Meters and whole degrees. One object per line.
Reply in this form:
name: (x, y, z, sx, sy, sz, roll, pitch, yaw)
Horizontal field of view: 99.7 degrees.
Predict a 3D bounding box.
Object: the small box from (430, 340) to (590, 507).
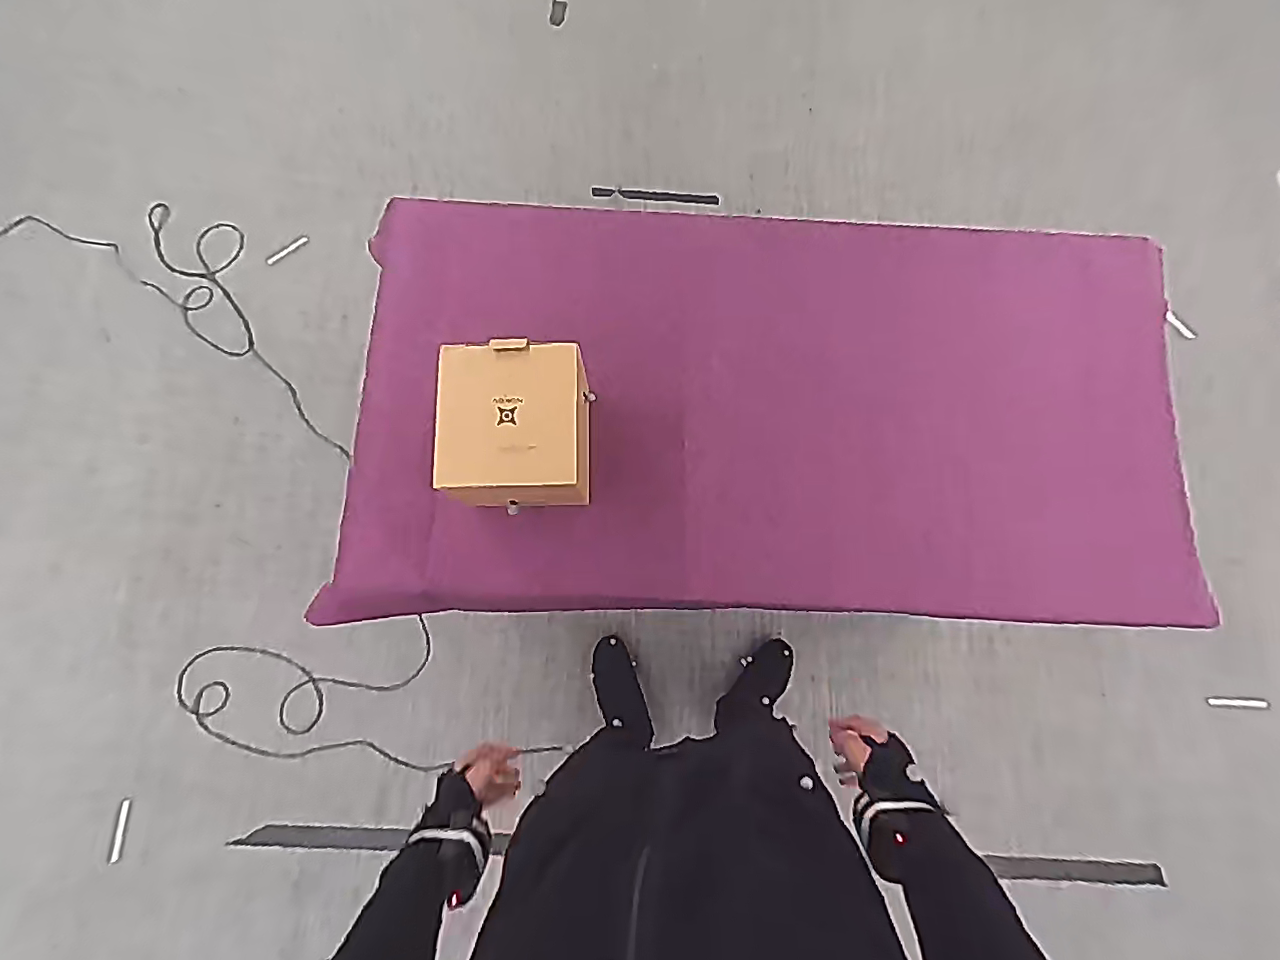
small box: (-0.155, -0.064, 0.699, 0.168, 0.176, 0.179, 0, 79, 0)
